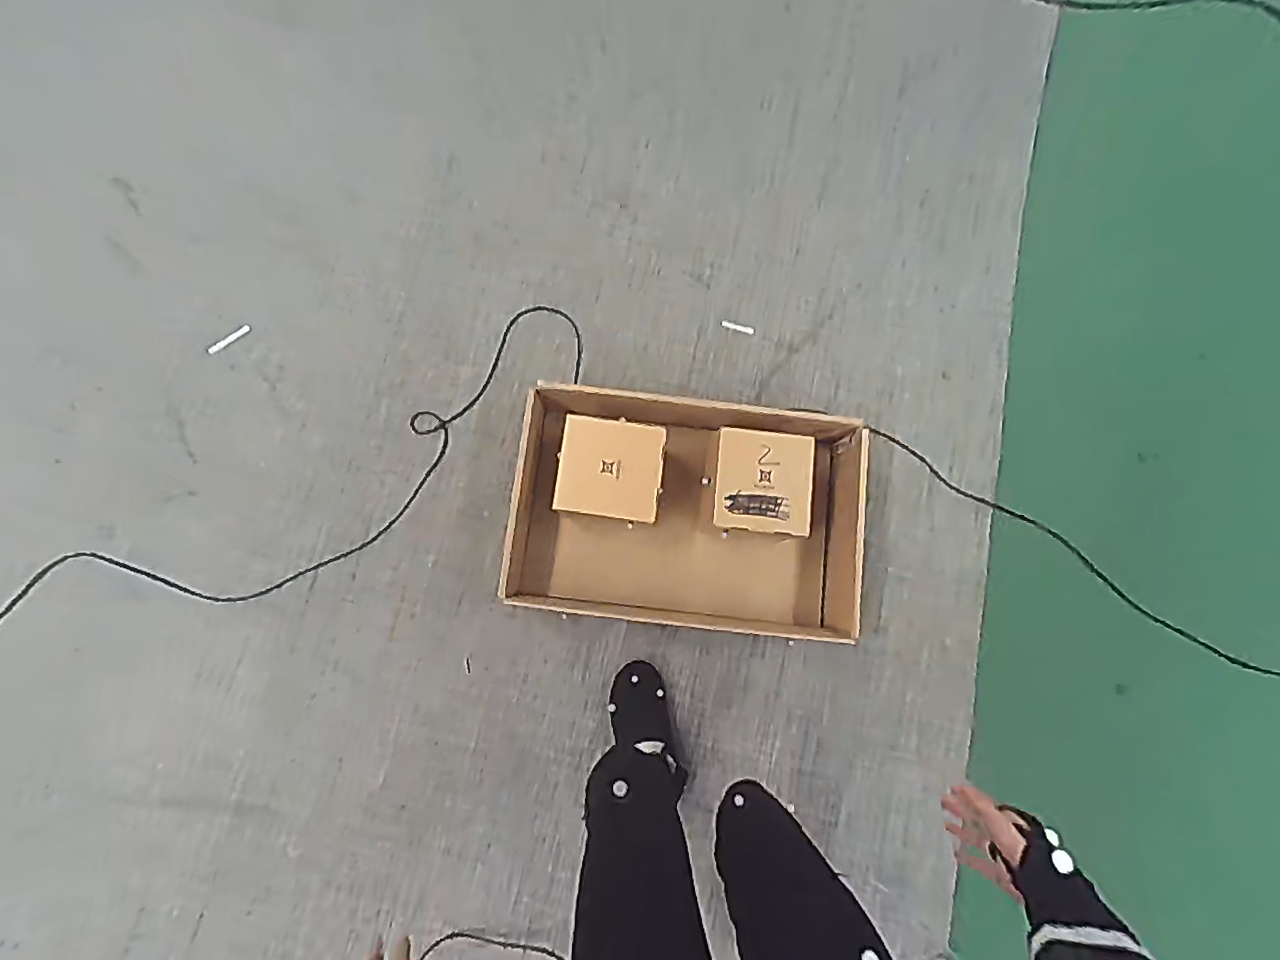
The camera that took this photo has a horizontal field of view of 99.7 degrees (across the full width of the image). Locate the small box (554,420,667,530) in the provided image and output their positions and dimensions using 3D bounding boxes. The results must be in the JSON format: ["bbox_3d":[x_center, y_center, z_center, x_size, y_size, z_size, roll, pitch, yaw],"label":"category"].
[{"bbox_3d":[-0.053,-0.001,0.998,0.179,0.176,0.168,8,81,-2],"label":"small box"}]
